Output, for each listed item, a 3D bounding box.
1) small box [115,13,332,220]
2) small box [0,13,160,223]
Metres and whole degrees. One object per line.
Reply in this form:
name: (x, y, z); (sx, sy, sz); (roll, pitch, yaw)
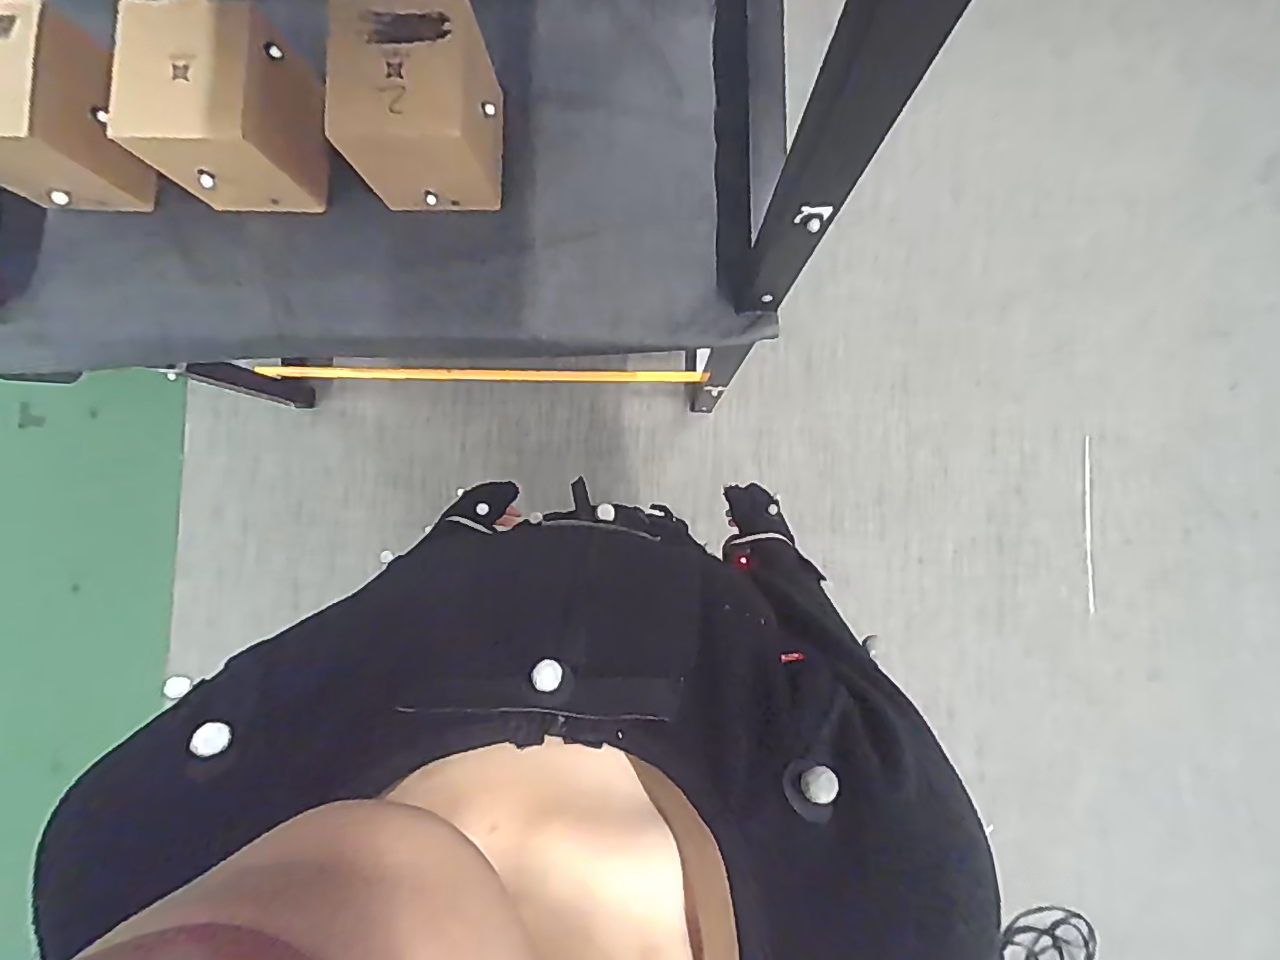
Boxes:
small box: (-0.546, -0.476, 0.732); (0.168, 0.176, 0.179); (1, 86, 1)
small box: (-0.799, -0.480, 0.734); (0.168, 0.176, 0.179); (2, 87, 1)
